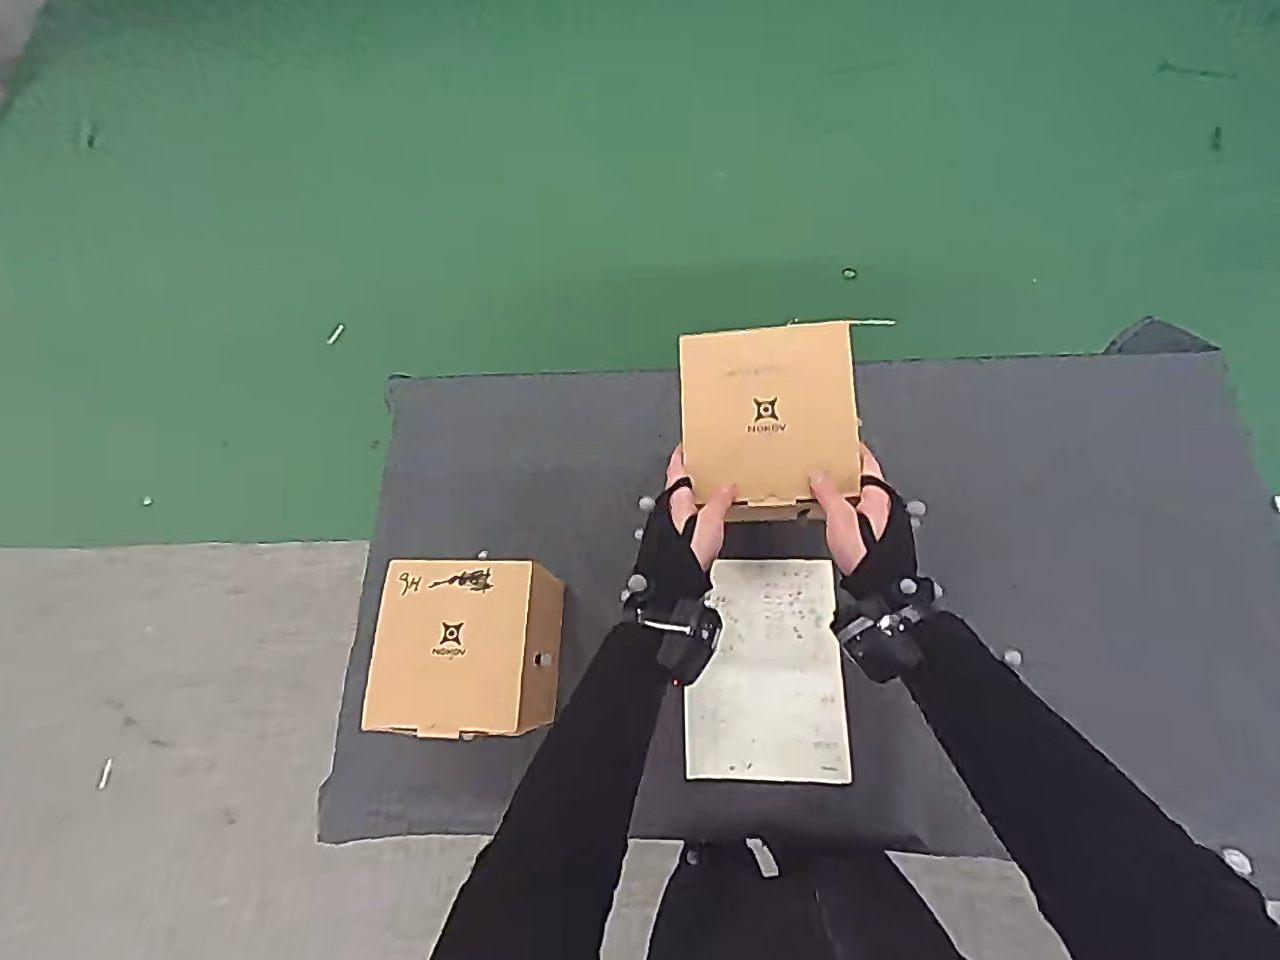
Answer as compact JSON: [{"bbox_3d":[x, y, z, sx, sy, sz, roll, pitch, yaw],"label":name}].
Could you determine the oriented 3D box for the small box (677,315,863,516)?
[{"bbox_3d":[0.131,-0.053,0.583,0.168,0.176,0.179,-3,80,9],"label":"small box"}]

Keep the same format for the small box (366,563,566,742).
[{"bbox_3d":[-0.190,0.200,0.645,0.168,0.176,0.179,0,72,5],"label":"small box"}]
